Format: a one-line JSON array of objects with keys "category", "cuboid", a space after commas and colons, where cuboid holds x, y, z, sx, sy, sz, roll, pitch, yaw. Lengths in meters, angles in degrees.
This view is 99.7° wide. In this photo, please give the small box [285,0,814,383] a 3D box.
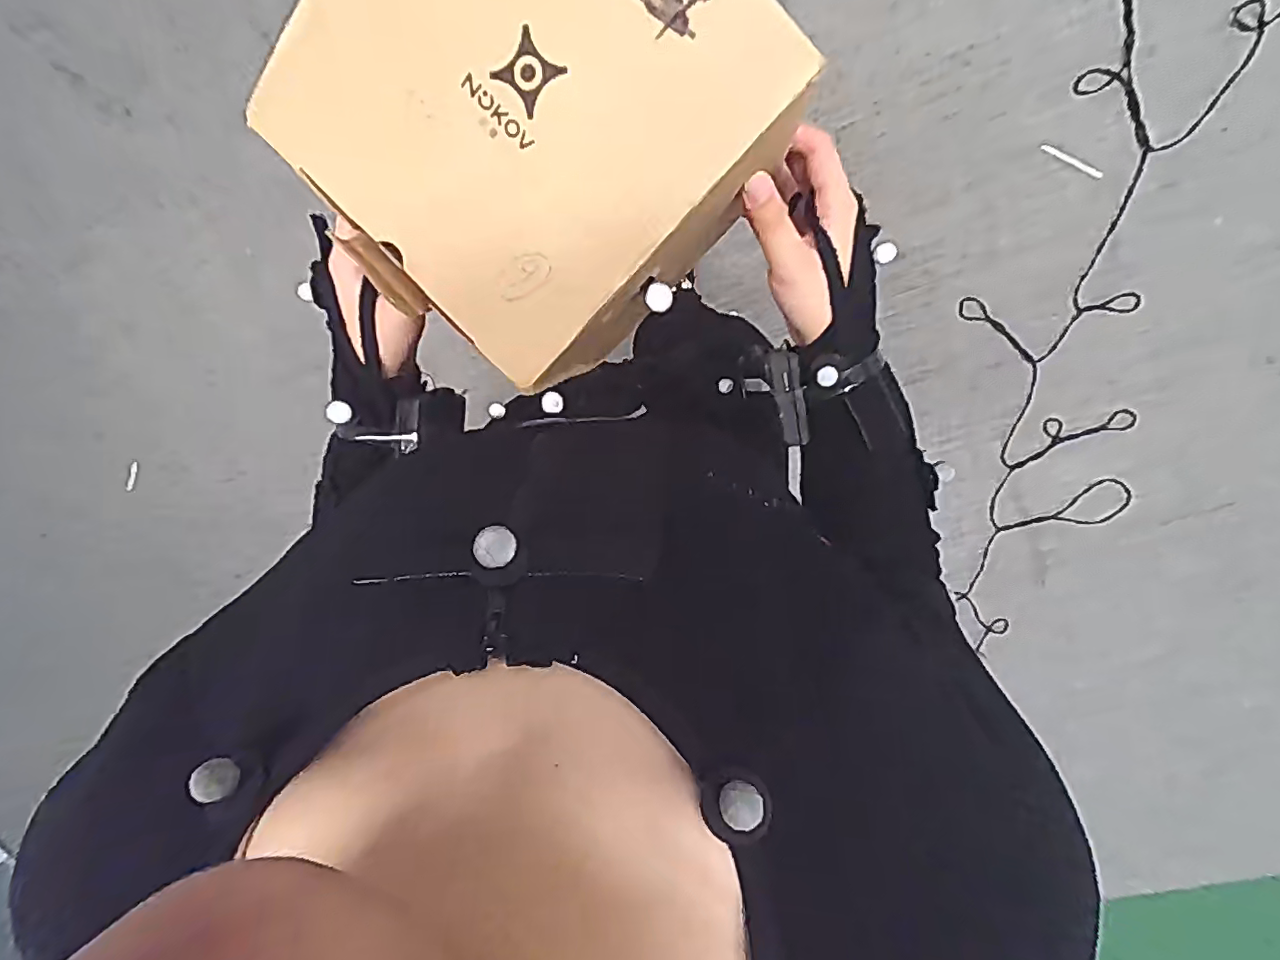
[{"category": "small box", "cuboid": [-0.034, -0.179, 0.302, 0.168, 0.176, 0.179, 45, 107, -7]}]
